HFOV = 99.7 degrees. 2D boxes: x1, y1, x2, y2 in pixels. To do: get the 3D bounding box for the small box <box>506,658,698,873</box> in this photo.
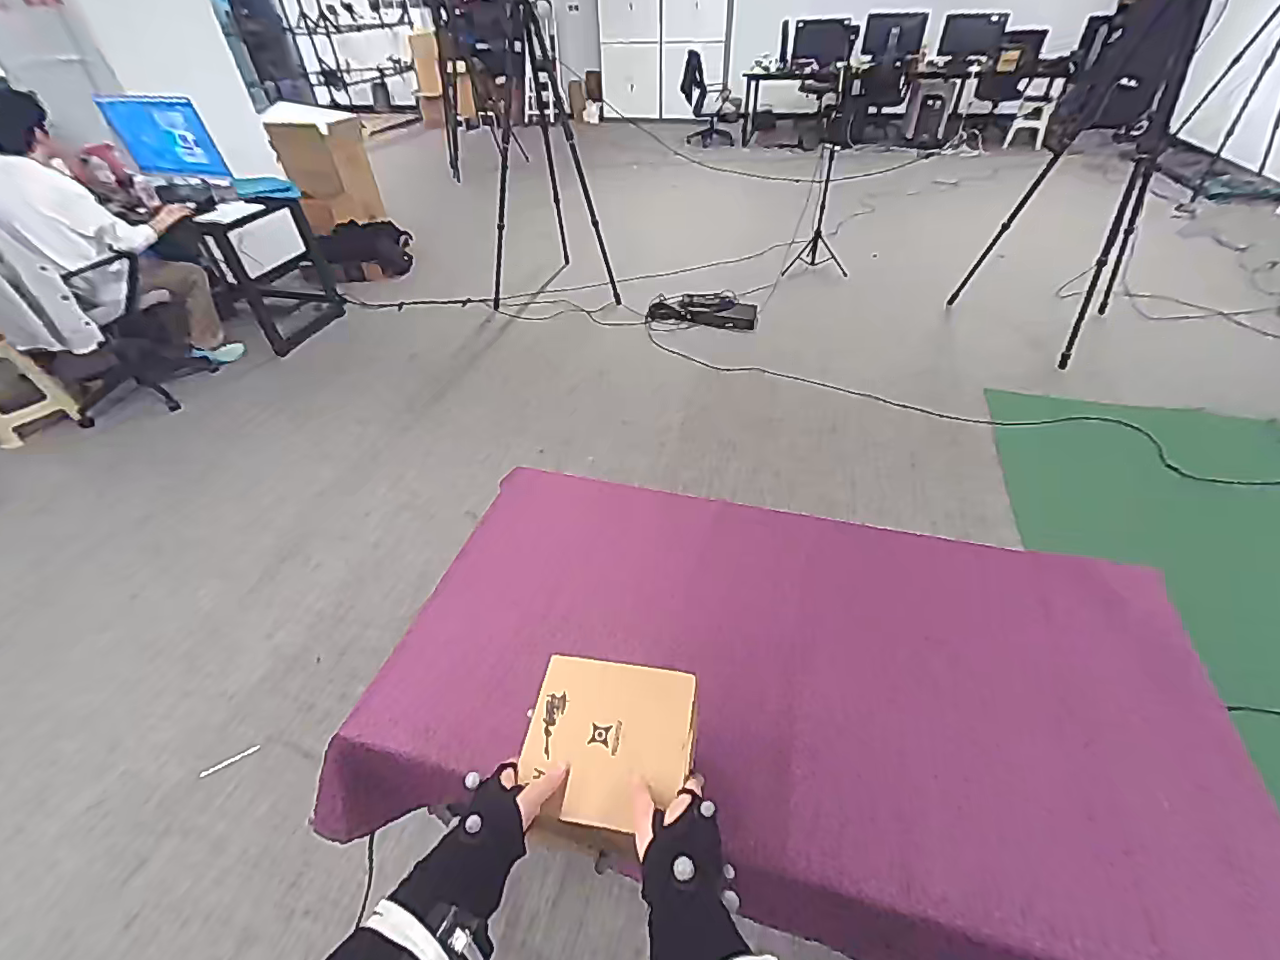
[{"bbox_3d":[-0.031,0.334,0.630,0.179,0.176,0.168,6,45,9],"label":"small box"}]
